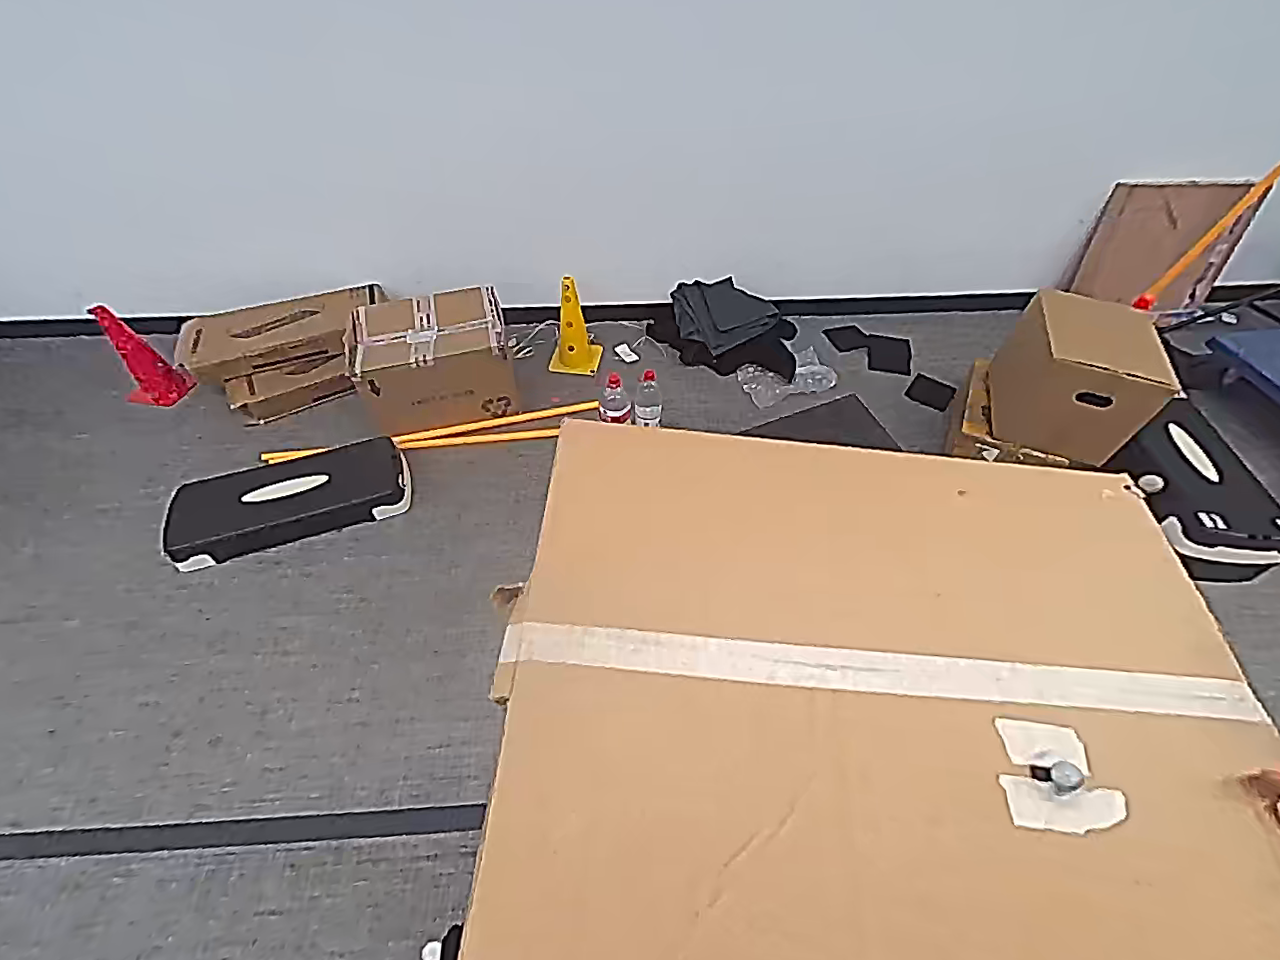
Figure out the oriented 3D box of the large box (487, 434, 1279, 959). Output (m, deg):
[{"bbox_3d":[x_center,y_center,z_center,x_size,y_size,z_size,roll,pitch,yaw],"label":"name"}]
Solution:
[{"bbox_3d":[0.124,0.194,0.424,0.408,0.320,0.320,6,56,-3],"label":"large box"}]
